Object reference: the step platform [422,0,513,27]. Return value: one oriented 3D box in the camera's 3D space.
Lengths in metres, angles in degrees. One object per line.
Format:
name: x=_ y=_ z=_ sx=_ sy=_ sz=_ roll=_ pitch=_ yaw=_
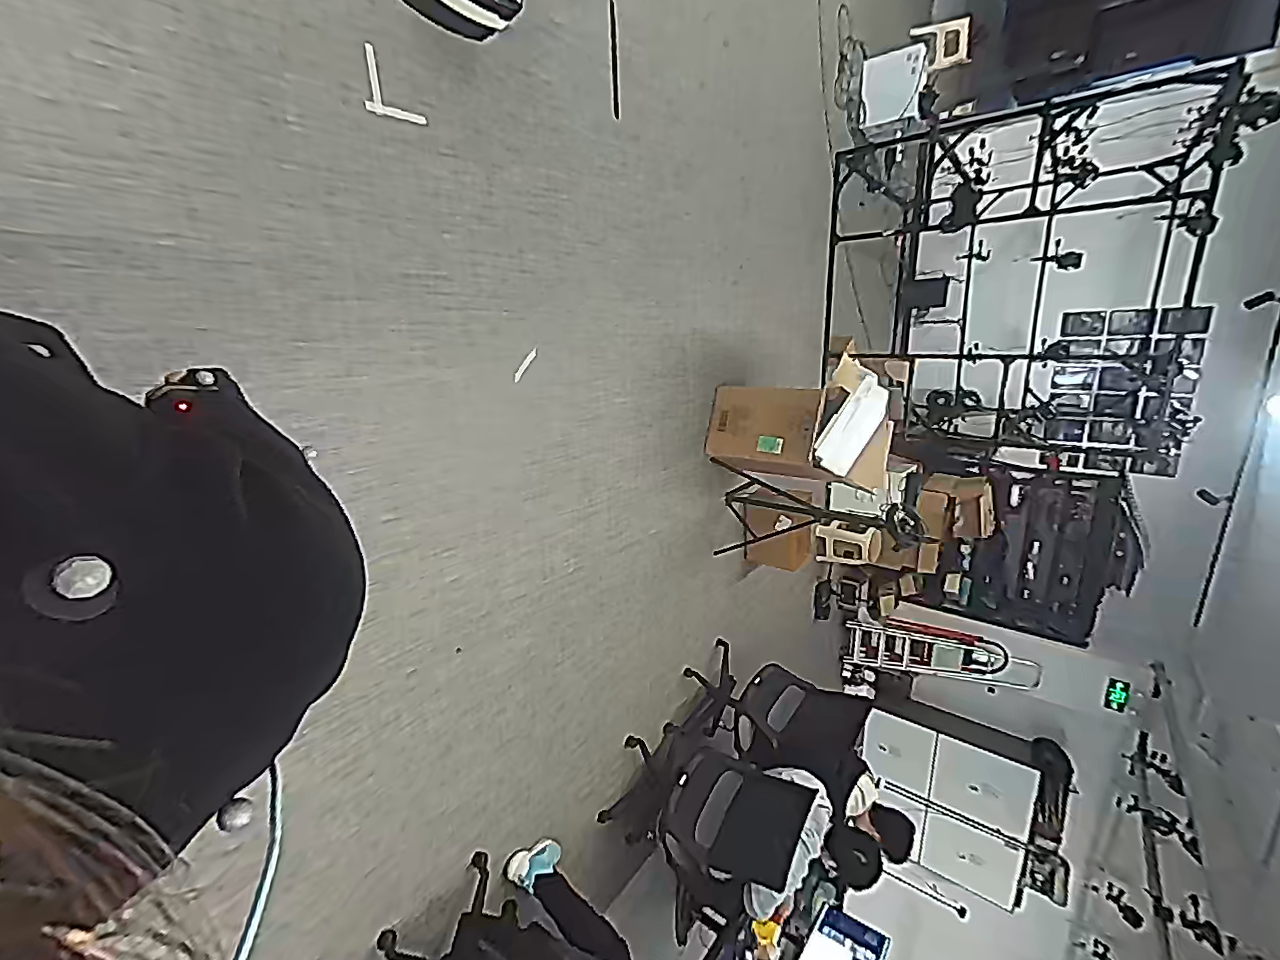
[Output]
step platform: x=-0.476 y=-1.625 z=1.390 sx=0.286 sy=0.204 sz=0.684 roll=-9 pitch=104 yaw=-51
